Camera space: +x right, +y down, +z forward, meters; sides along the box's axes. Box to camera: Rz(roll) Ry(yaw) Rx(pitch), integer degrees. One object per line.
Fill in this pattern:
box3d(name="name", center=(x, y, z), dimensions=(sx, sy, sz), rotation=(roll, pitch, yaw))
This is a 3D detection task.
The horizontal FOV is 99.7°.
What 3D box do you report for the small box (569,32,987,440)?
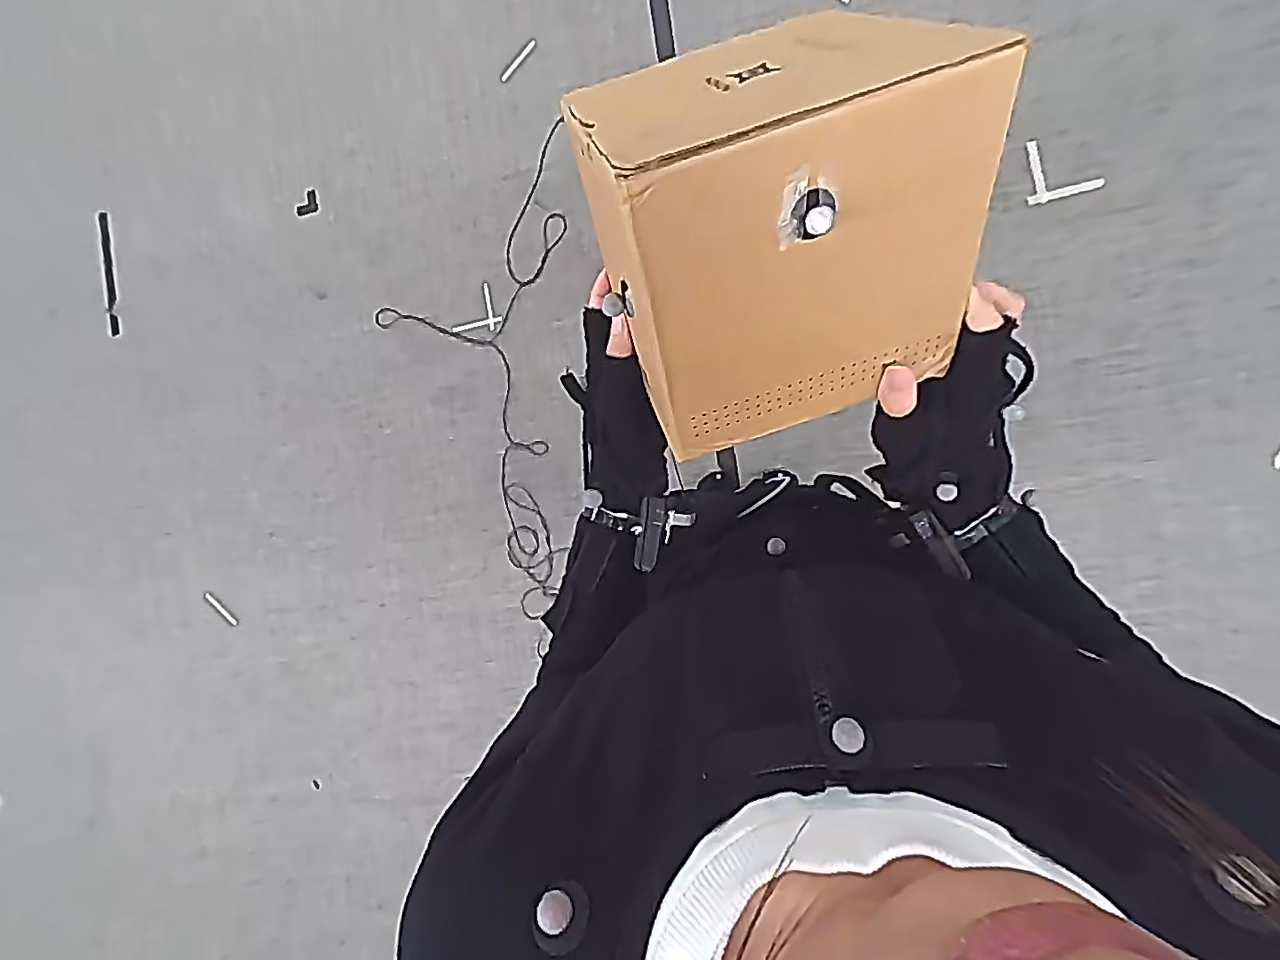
box3d(name="small box", center=(0.071, -0.150, 0.344), dimensions=(0.179, 0.176, 0.168), rotation=(-18, 45, -1))
